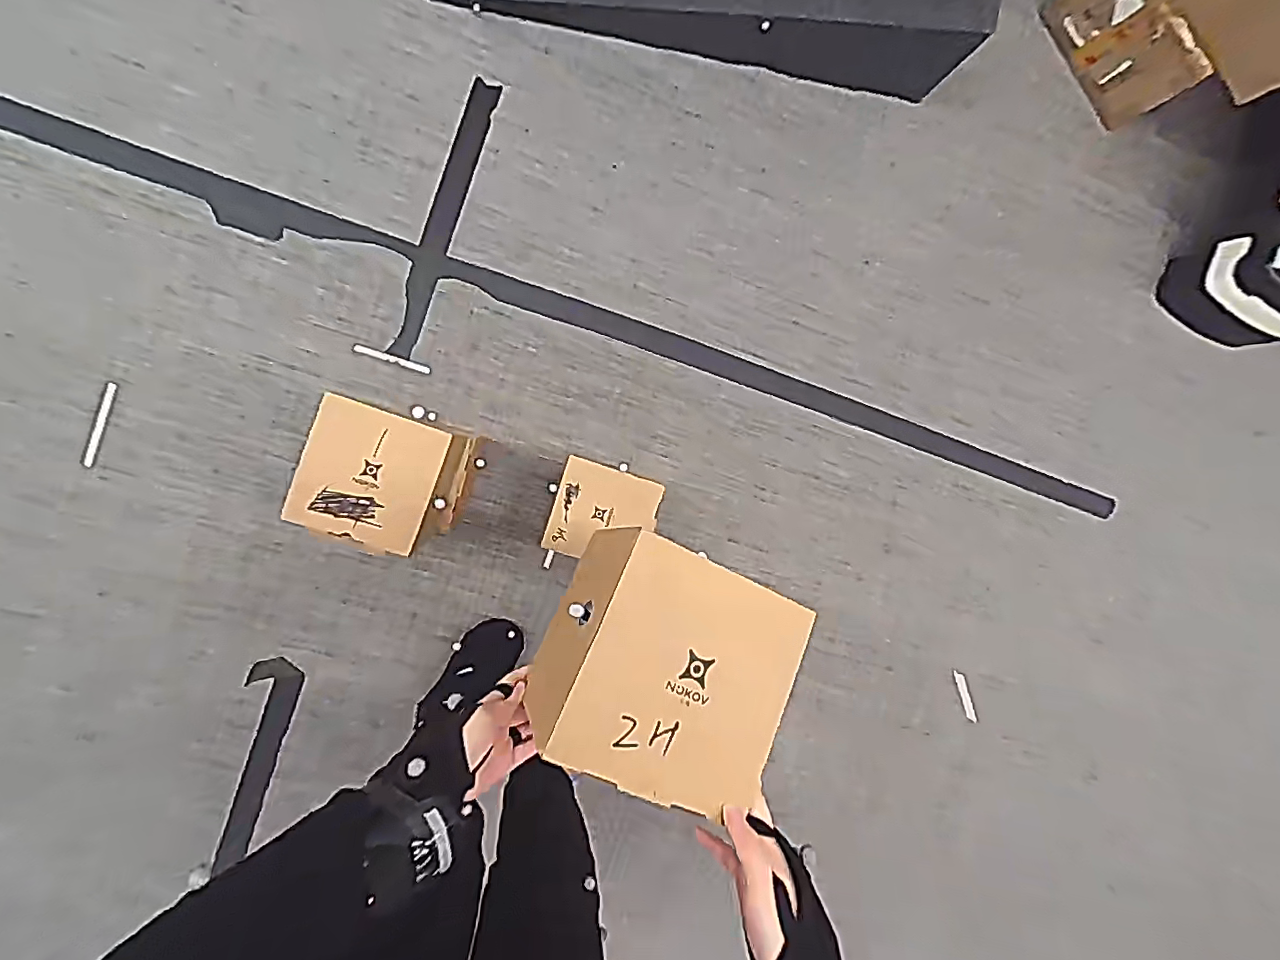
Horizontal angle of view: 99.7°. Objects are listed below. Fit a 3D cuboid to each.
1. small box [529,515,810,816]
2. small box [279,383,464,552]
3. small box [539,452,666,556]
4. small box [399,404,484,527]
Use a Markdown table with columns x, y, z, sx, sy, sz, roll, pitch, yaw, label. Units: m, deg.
| x | y | z | sx | sy | sz | roll | pitch | yaw | label |
| --- | --- | --- | --- | --- | --- | --- | --- | --- | --- |
| 0.012 | 0.146 | 0.479 | 0.168 | 0.176 | 0.179 | 28 | 77 | -12 | small box |
| -0.363 | -0.019 | 0.769 | 0.168 | 0.176 | 0.179 | 20 | 90 | -11 | small box |
| -0.075 | 0.049 | 0.988 | 0.179 | 0.176 | 0.168 | 19 | 91 | -11 | small box |
| -0.380 | -0.032 | 0.931 | 0.179 | 0.176 | 0.168 | 18 | 92 | -10 | small box |
